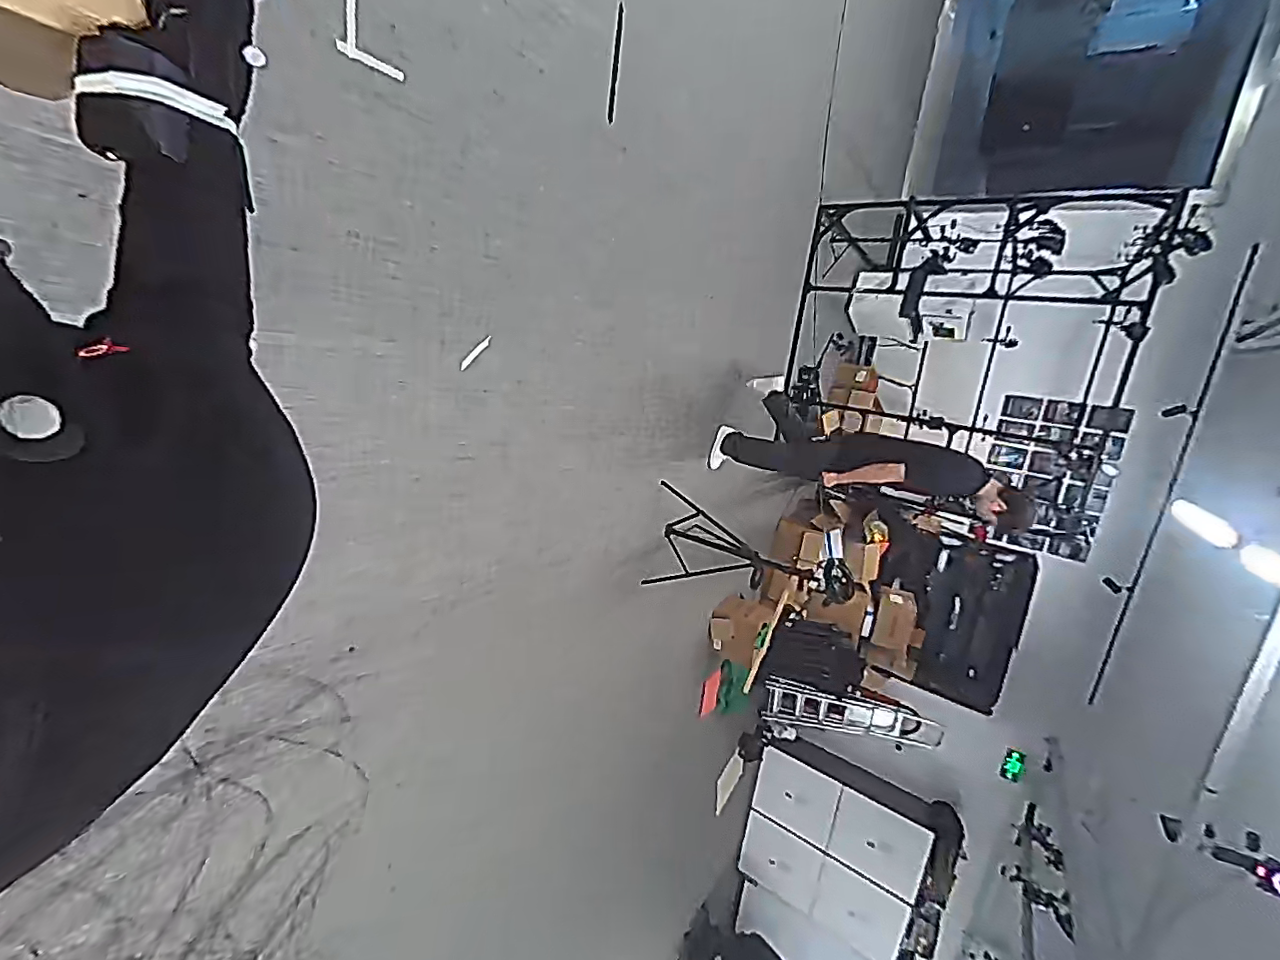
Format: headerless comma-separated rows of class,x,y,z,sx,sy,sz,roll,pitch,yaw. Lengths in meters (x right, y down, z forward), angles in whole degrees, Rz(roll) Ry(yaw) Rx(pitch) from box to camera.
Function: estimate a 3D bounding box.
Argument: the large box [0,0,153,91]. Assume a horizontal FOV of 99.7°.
large box,-0.546,-0.461,0.258,0.408,0.320,0.320,-8,115,-55
